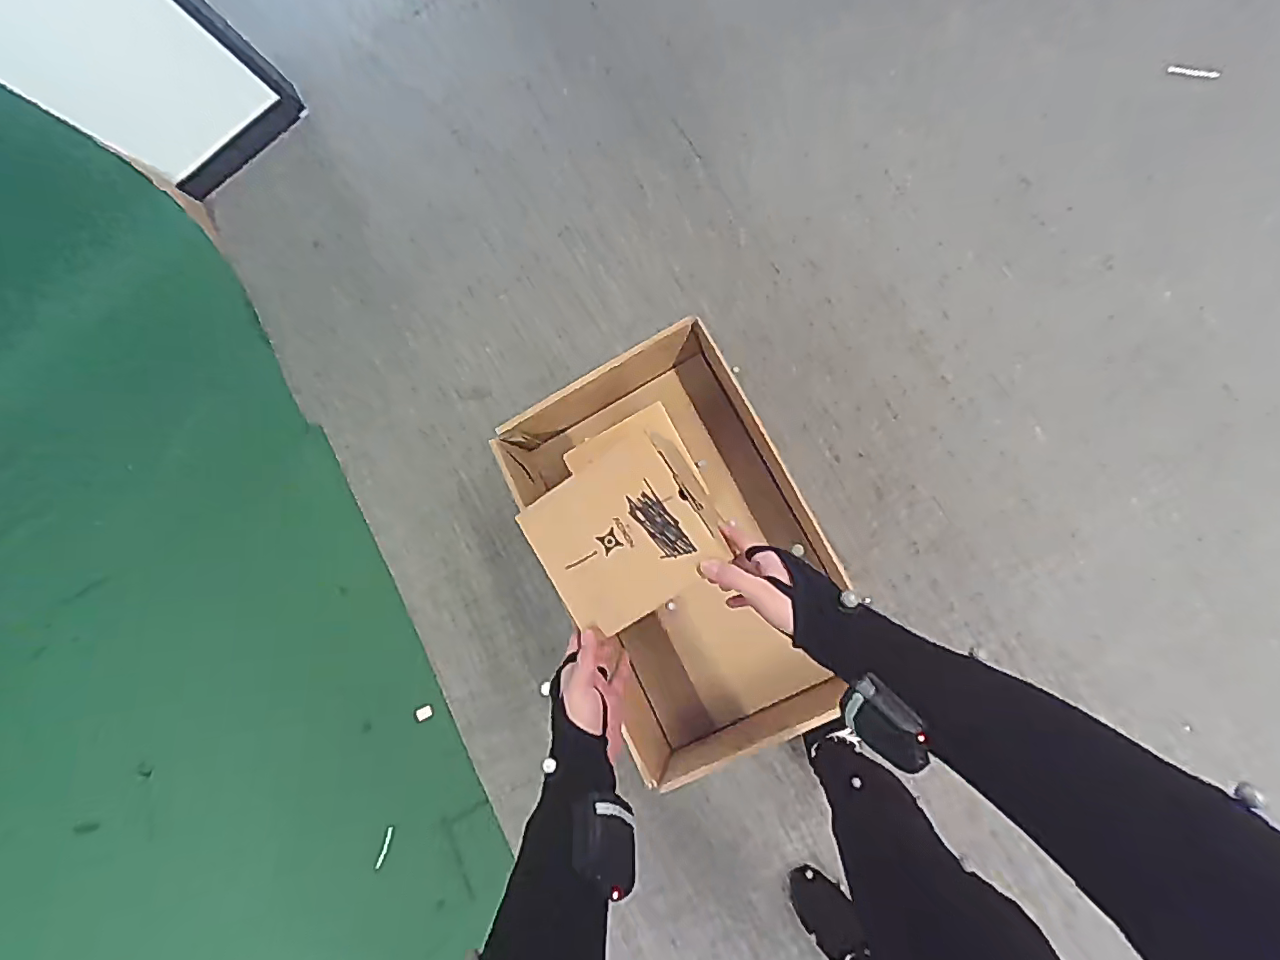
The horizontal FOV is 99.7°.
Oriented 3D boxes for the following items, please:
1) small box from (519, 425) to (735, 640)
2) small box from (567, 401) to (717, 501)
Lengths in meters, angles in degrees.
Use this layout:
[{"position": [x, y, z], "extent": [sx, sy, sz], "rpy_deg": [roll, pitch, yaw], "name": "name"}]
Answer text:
[{"position": [-0.002, 0.055, 0.633], "extent": [0.179, 0.176, 0.168], "rpy_deg": [-33, 81, 12], "name": "small box"}, {"position": [0.014, -0.003, 0.877], "extent": [0.179, 0.176, 0.168], "rpy_deg": [-29, 80, 9], "name": "small box"}]
